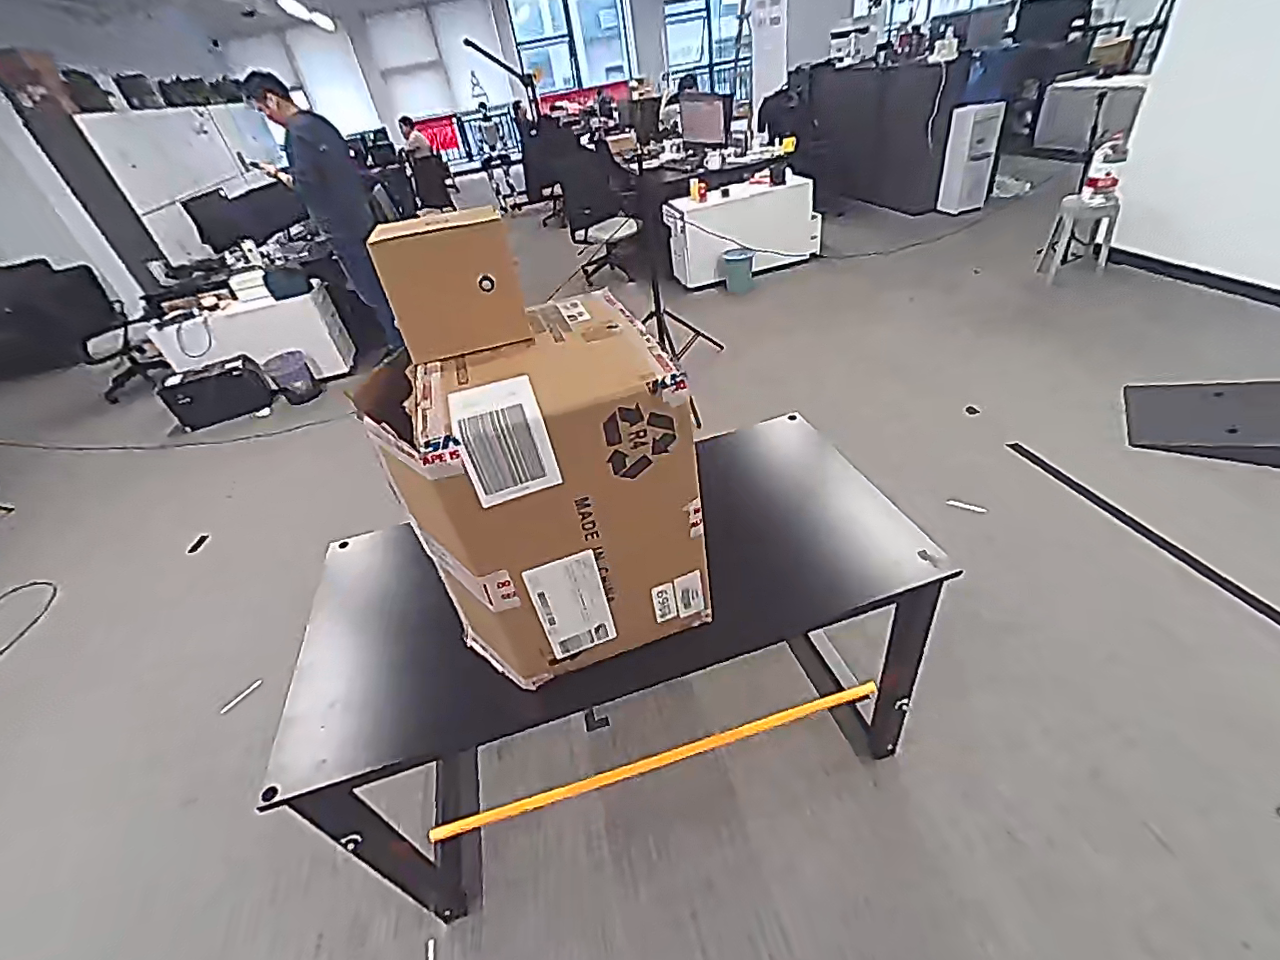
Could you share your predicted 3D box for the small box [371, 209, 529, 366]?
[{"bbox_3d":[-0.274,-0.291,0.811,0.179,0.176,0.168,-17,35,-10],"label":"small box"}]
